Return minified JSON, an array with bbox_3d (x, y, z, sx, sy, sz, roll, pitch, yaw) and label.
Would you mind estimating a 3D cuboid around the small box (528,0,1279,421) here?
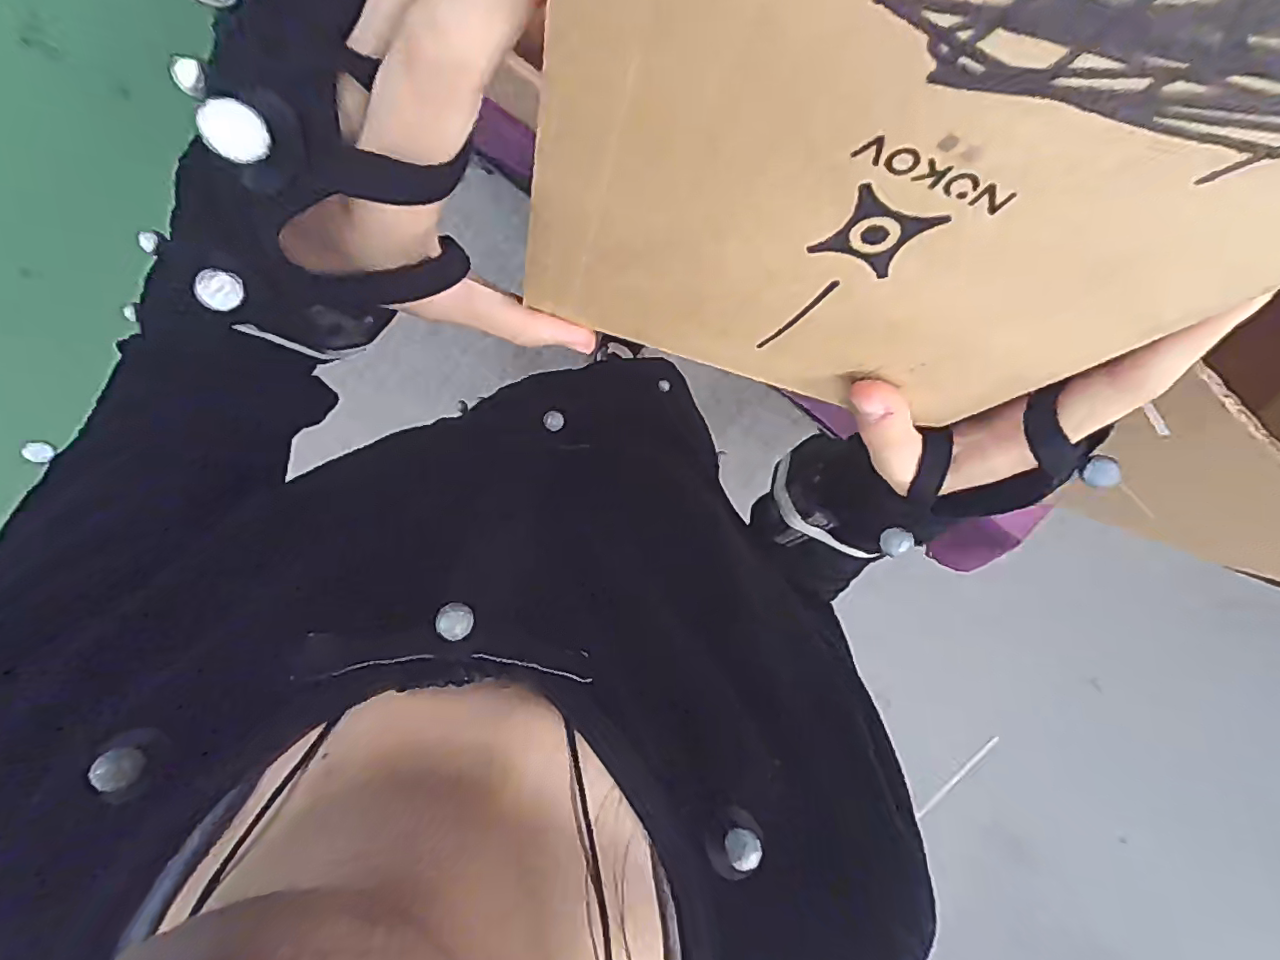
[{"bbox_3d":[0.075,-0.140,0.149,0.168,0.179,0.176,15,74,-12],"label":"small box"}]
